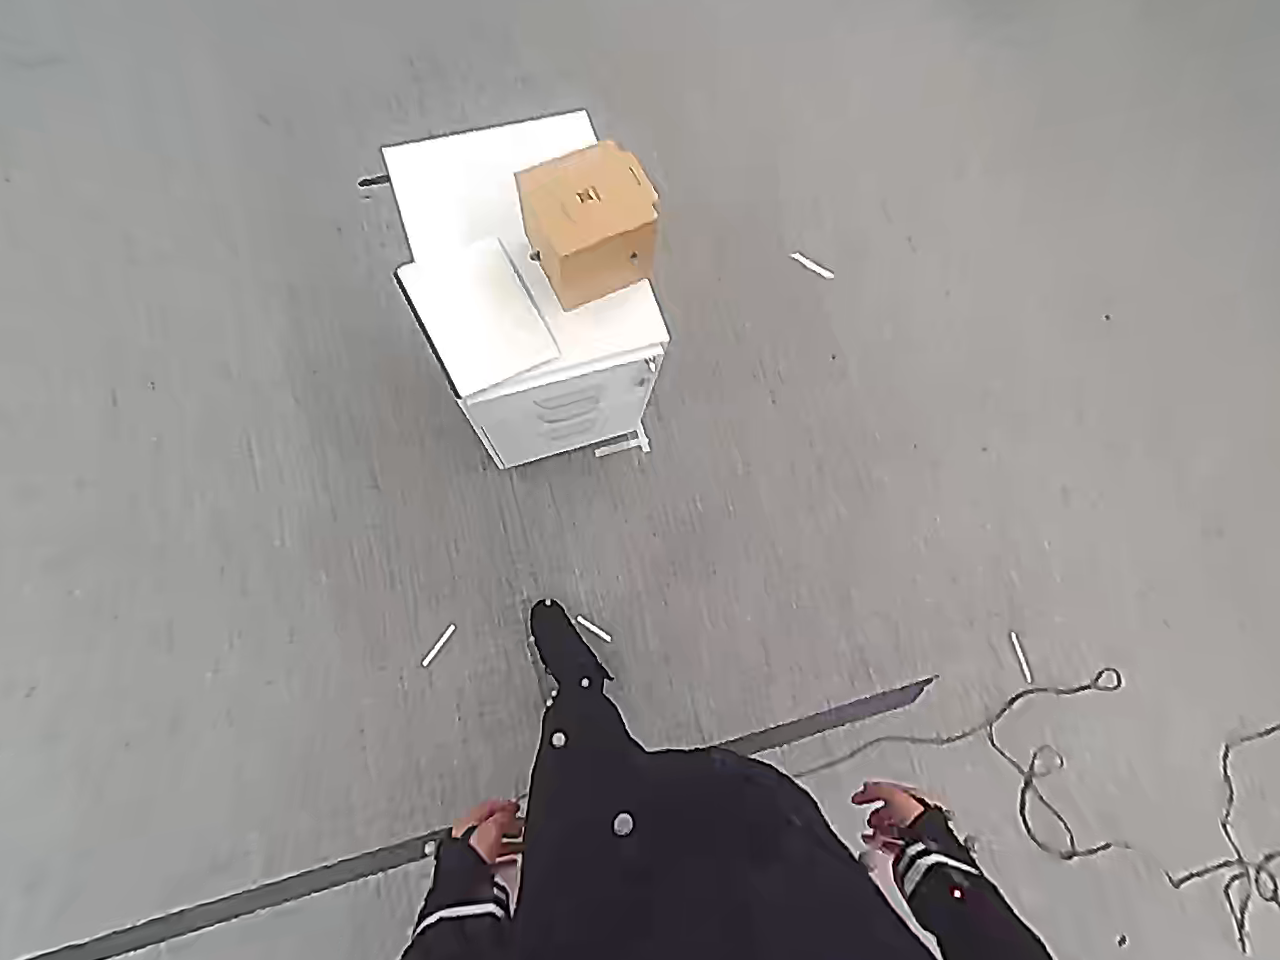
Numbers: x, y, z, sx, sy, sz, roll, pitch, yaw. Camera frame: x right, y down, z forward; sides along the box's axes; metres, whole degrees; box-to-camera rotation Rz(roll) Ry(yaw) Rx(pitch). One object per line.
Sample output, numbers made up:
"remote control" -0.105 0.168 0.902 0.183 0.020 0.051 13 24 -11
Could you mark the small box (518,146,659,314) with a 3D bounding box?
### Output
"small box" -0.089 -0.418 0.925 0.179 0.176 0.168 -26 81 -10
